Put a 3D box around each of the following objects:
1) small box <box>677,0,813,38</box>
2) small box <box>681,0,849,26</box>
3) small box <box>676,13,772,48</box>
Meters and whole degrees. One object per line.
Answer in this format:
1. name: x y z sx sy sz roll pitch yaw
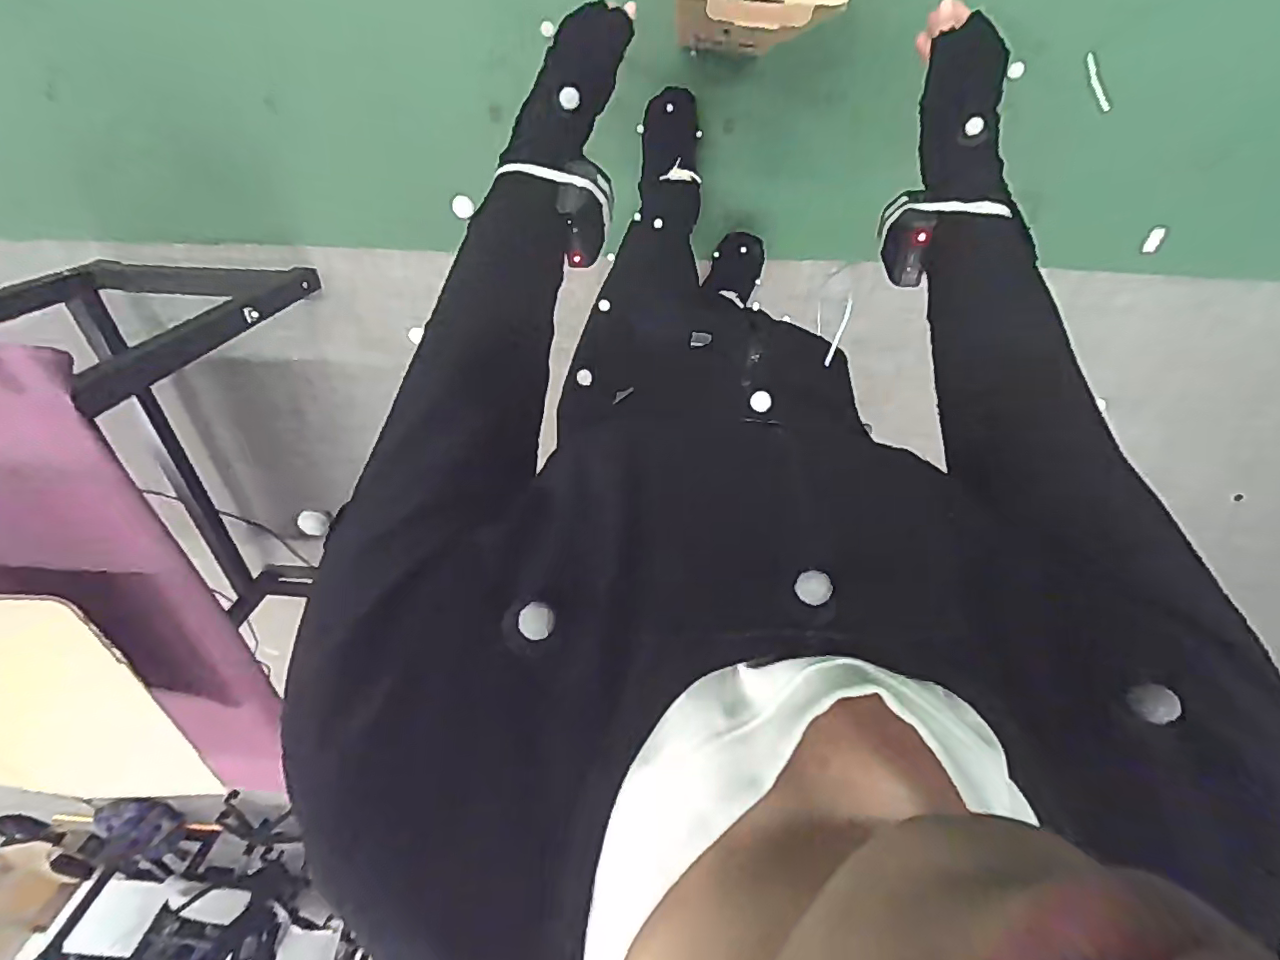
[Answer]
1. small box: 0.135 -0.667 0.661 0.168 0.176 0.179 4 126 0
2. small box: 0.126 -0.571 0.527 0.168 0.176 0.179 5 126 0
3. small box: 0.152 -0.857 0.927 0.168 0.176 0.179 4 128 2
